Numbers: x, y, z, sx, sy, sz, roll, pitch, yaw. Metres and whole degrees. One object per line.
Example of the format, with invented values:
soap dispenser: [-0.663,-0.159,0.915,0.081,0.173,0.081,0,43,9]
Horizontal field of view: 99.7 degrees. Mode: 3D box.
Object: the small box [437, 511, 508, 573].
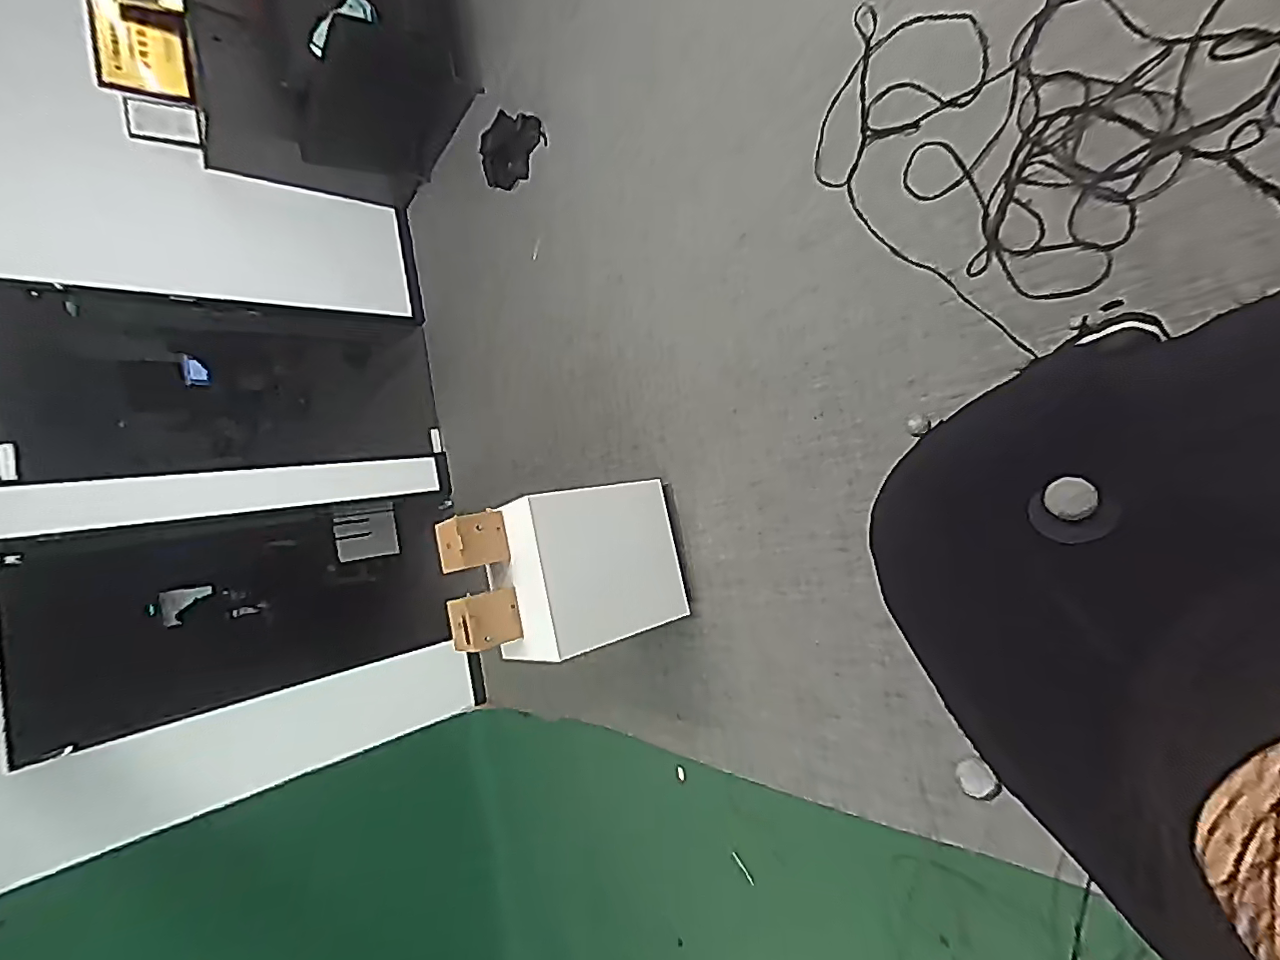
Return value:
small box: [-0.545,0.202,1.778,0.179,0.176,0.168,-20,80,49]
